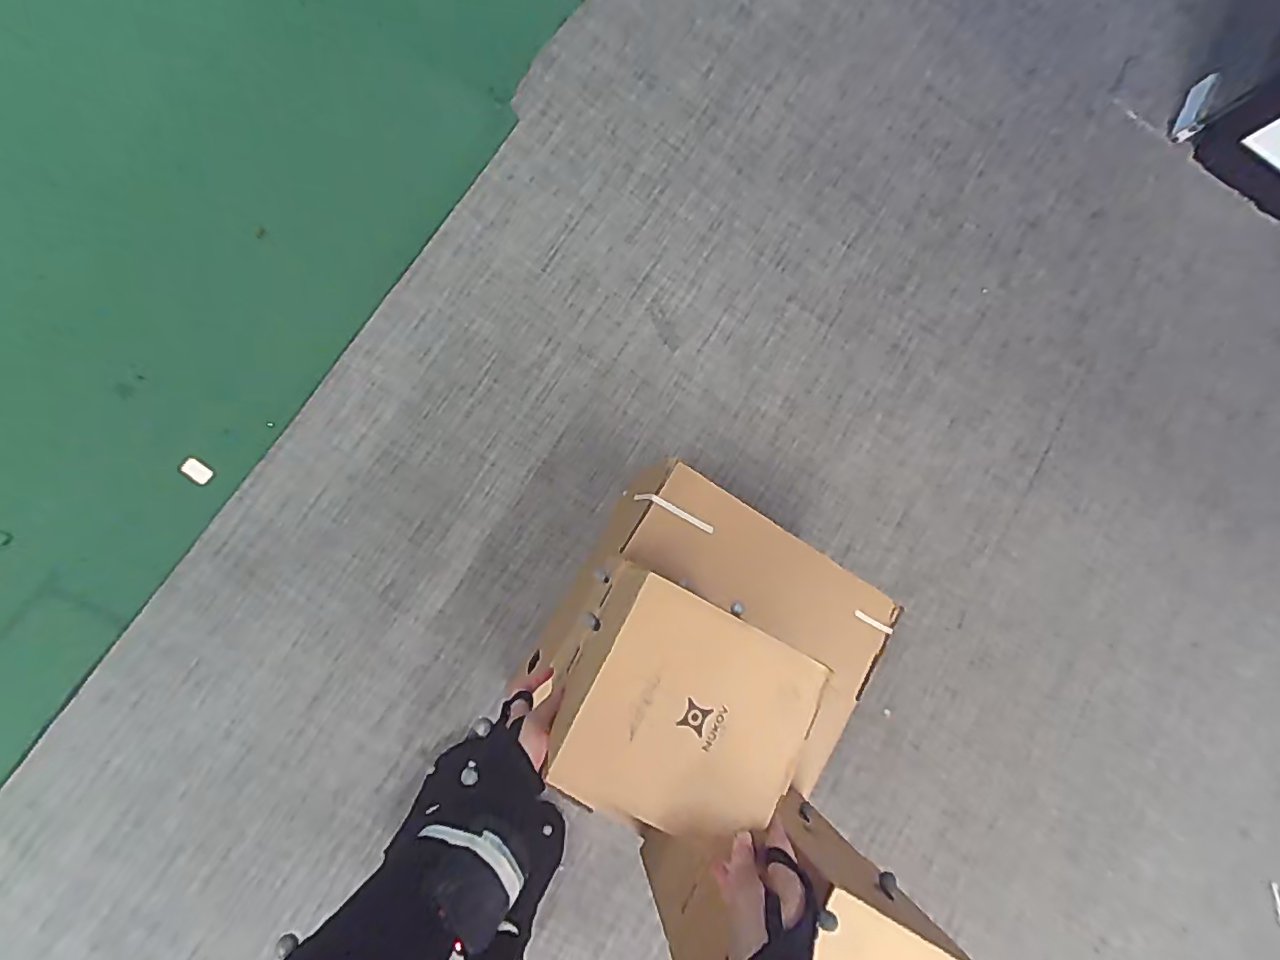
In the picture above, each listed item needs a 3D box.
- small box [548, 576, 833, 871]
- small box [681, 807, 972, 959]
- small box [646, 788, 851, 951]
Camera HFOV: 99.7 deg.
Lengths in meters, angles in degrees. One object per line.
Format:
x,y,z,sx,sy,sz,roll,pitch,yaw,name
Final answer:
0.033,0.195,0.493,0.179,0.176,0.168,29,79,-3,small box
0.156,0.433,0.483,0.168,0.176,0.179,34,81,-5,small box
0.129,0.454,0.643,0.179,0.176,0.168,33,79,-5,small box
